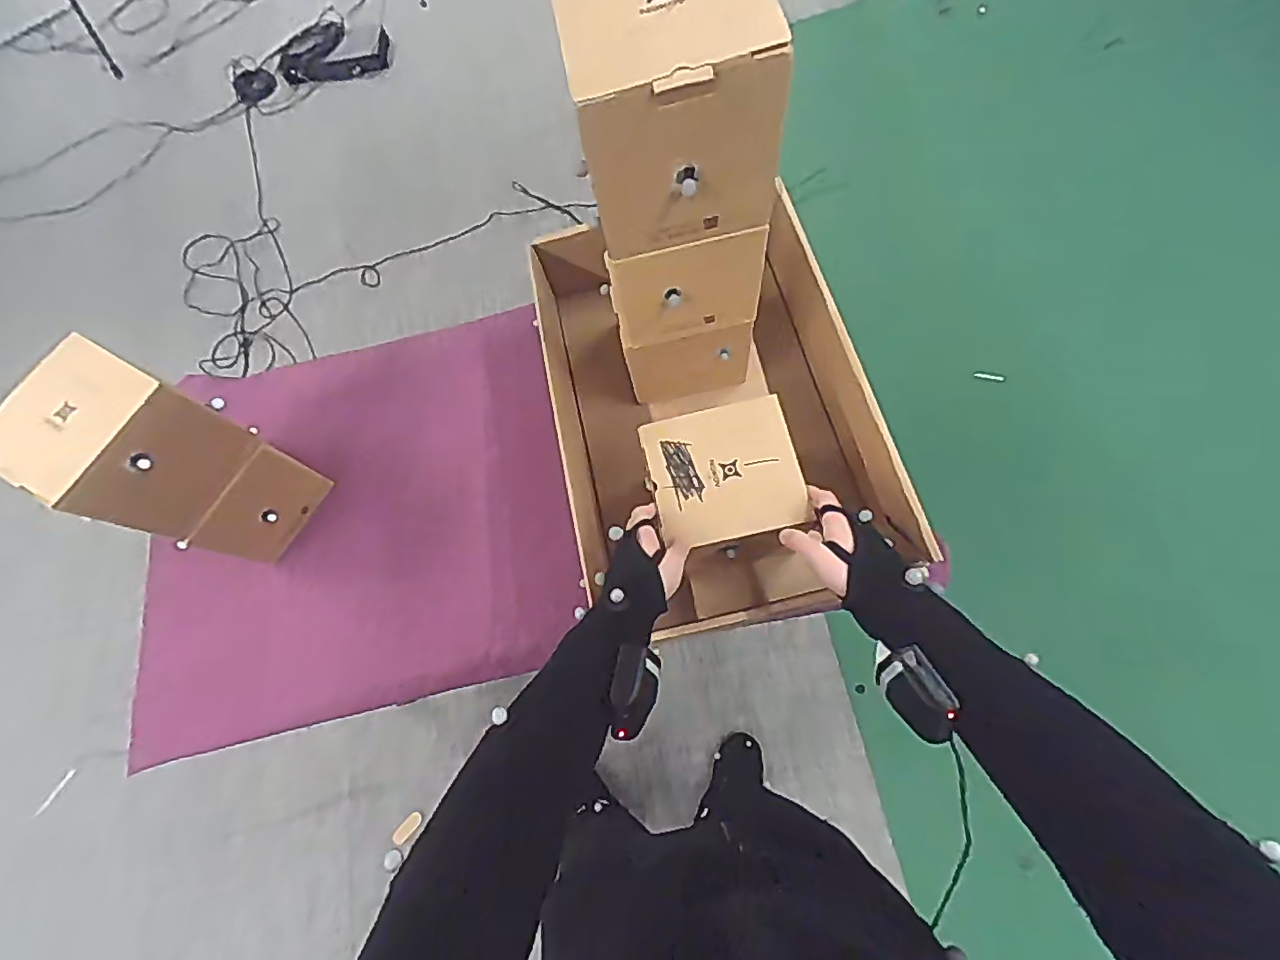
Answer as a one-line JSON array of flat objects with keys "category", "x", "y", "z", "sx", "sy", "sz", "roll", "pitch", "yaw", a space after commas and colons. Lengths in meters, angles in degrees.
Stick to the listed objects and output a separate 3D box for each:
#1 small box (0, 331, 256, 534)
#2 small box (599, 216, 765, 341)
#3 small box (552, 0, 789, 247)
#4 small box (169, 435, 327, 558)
[{"category": "small box", "x": -0.658, "y": -0.051, "z": 0.699, "sx": 0.168, "sy": 0.176, "sz": 0.179, "roll": 27, "pitch": 75, "yaw": 13}, {"category": "small box", "x": 0.044, "y": -0.287, "z": 0.648, "sx": 0.168, "sy": 0.176, "sz": 0.179, "roll": -12, "pitch": 70, "yaw": 3}, {"category": "small box", "x": 0.026, "y": -0.340, "z": 0.494, "sx": 0.168, "sy": 0.176, "sz": 0.179, "roll": -12, "pitch": 71, "yaw": 3}, {"category": "small box", "x": -0.646, "y": 0.009, "z": 0.850, "sx": 0.179, "sy": 0.176, "sz": 0.168, "roll": 27, "pitch": 75, "yaw": 14}]
